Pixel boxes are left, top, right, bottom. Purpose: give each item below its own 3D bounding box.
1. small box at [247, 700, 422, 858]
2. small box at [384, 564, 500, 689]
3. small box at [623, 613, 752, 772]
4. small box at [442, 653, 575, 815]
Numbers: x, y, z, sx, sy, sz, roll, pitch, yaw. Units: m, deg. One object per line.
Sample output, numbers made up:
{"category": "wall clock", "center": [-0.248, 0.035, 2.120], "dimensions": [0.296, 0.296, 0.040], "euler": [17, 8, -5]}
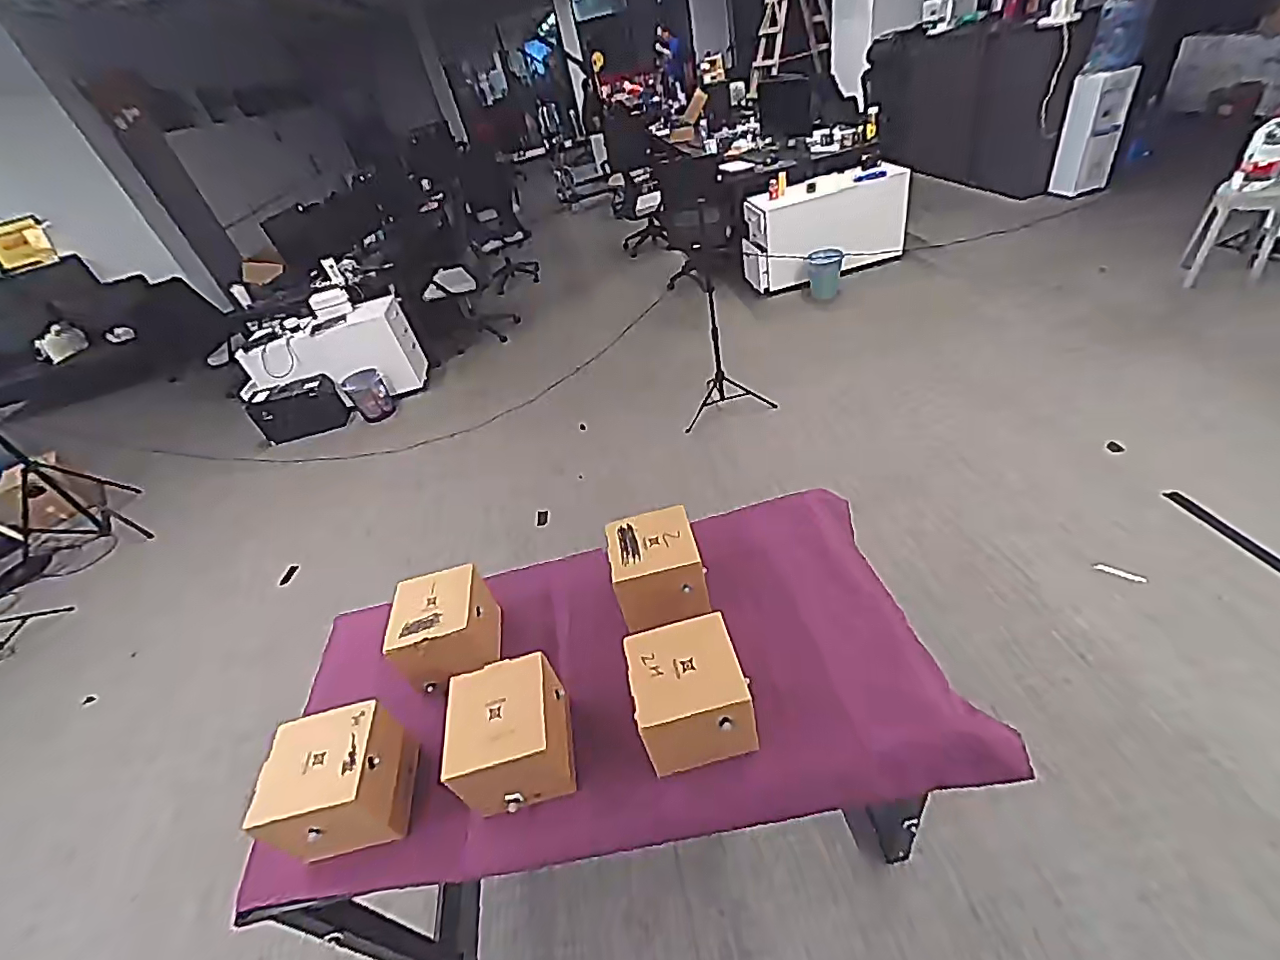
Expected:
{"category": "small box", "center": [-0.502, 0.510, 0.919], "dimensions": [0.179, 0.176, 0.168], "euler": [-15, 39, 0]}
{"category": "small box", "center": [-0.400, 0.312, 1.126], "dimensions": [0.168, 0.176, 0.179], "euler": [-16, 39, -1]}
{"category": "small box", "center": [0.083, 0.358, 0.909], "dimensions": [0.179, 0.176, 0.168], "euler": [-16, 38, 0]}
{"category": "small box", "center": [-0.217, 0.433, 0.923], "dimensions": [0.168, 0.176, 0.179], "euler": [-16, 41, 0]}
